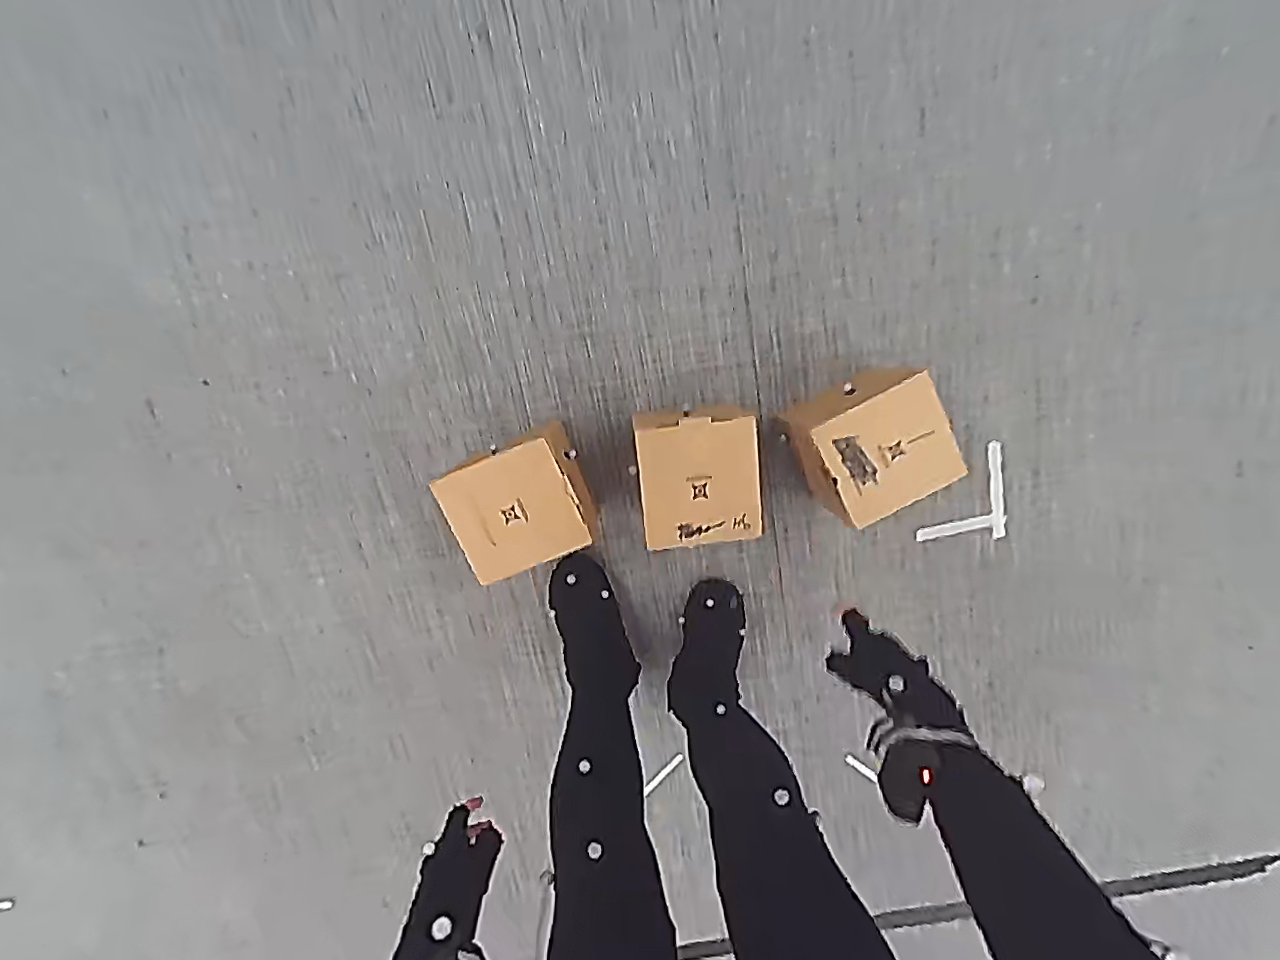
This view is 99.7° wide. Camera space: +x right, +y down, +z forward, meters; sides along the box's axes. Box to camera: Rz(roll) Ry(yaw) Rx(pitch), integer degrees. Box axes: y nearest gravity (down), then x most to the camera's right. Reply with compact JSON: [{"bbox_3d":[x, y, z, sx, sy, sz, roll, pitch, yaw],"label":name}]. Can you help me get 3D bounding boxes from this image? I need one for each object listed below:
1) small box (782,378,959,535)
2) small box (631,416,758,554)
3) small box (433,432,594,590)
[{"bbox_3d":[0.334,-0.044,0.825,0.179,0.176,0.168,-27,102,4],"label":"small box"},{"bbox_3d":[0.076,-0.003,0.826,0.168,0.176,0.179,-6,103,-1],"label":"small box"},{"bbox_3d":[-0.178,0.036,0.826,0.179,0.176,0.168,-22,102,4],"label":"small box"}]
